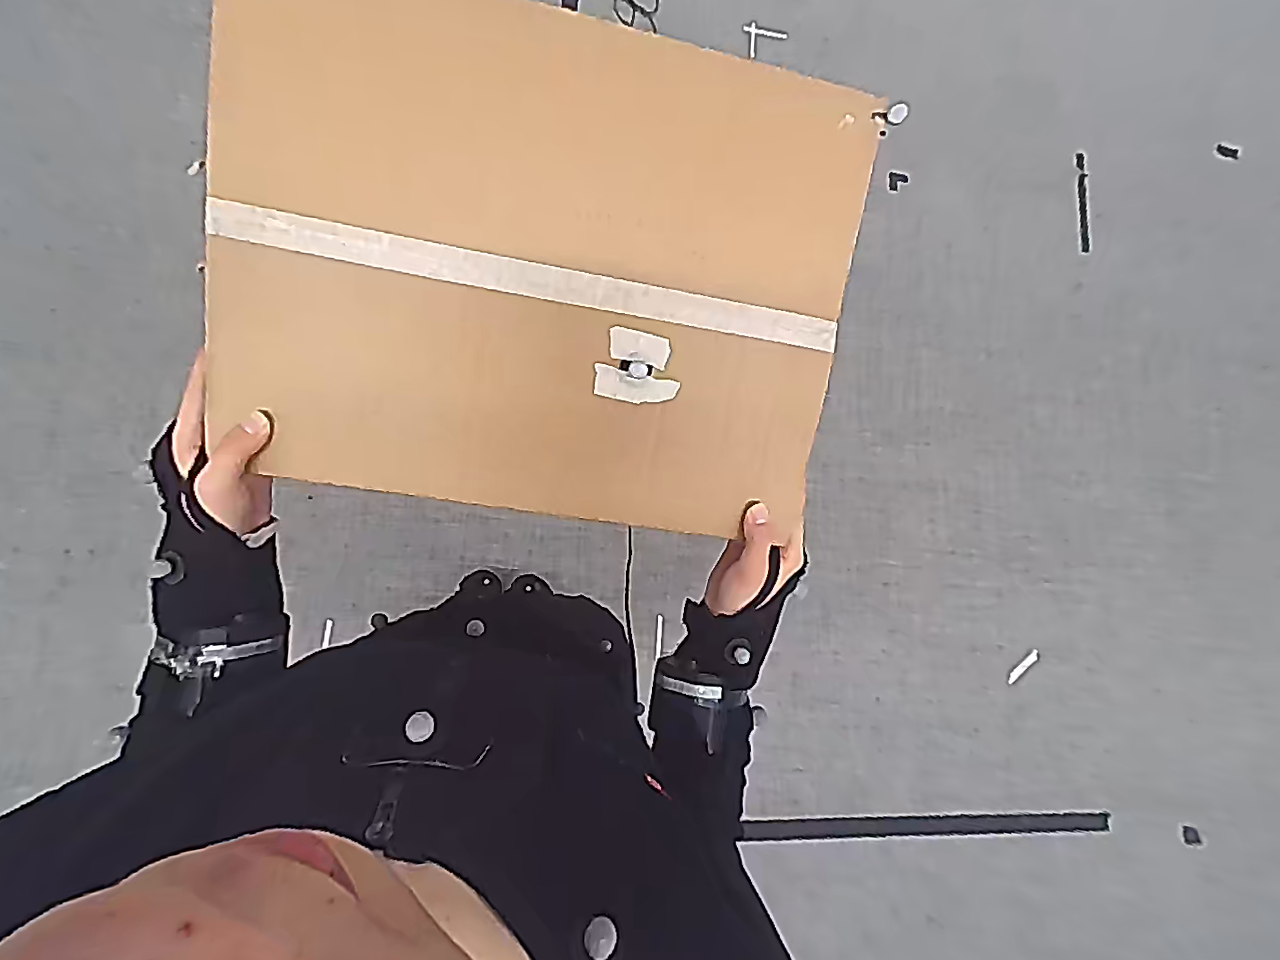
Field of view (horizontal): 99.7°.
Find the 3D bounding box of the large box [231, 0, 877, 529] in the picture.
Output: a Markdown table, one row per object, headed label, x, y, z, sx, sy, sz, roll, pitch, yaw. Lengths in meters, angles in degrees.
| label | x | y | z | sx | sy | sz | roll | pitch | yaw |
| --- | --- | --- | --- | --- | --- | --- | --- | --- | --- |
| large box | -0.075 | -0.162 | 0.506 | 0.408 | 0.320 | 0.320 | 8 | 101 | -9 |
